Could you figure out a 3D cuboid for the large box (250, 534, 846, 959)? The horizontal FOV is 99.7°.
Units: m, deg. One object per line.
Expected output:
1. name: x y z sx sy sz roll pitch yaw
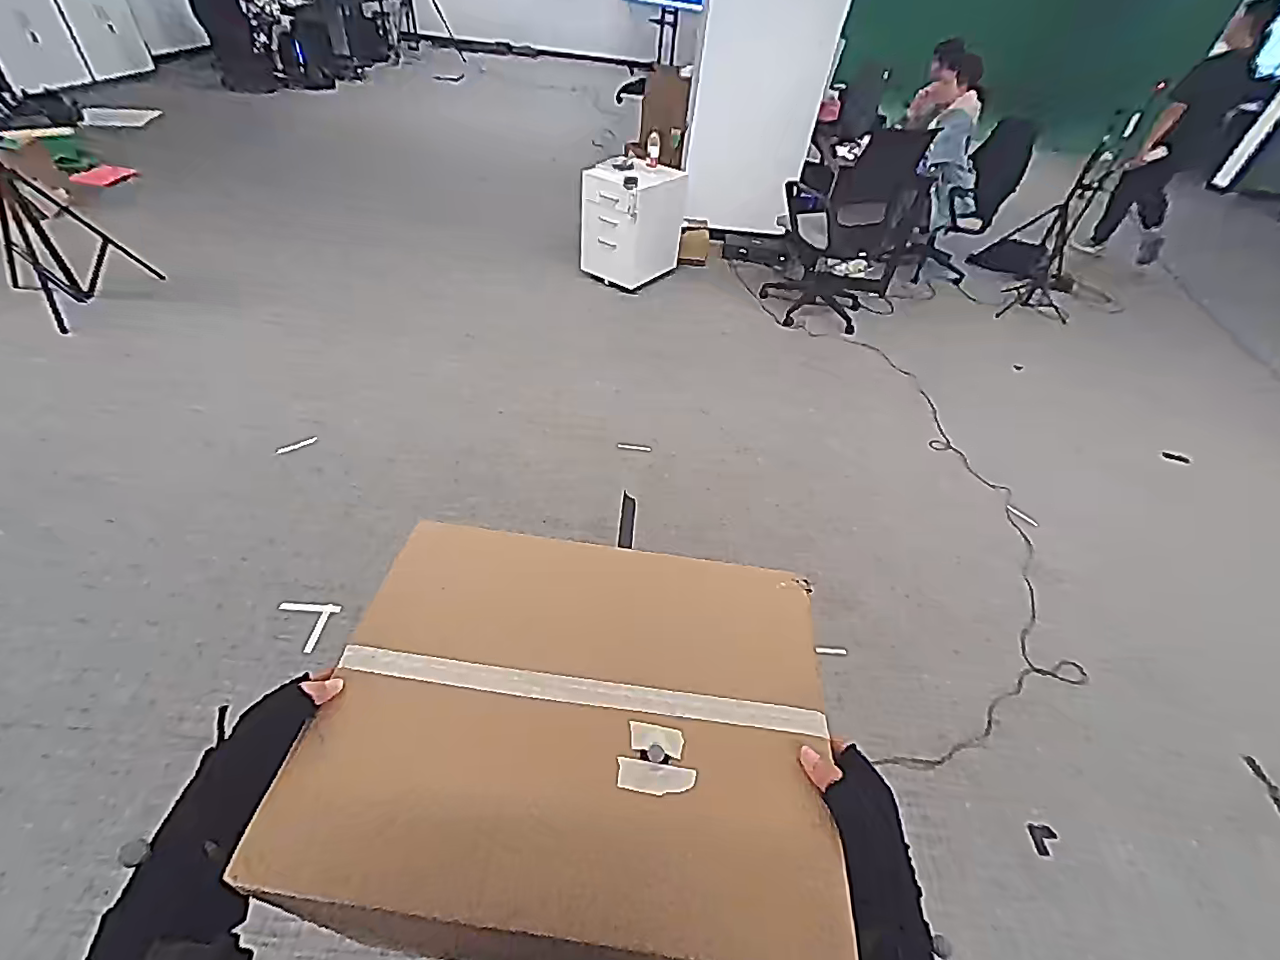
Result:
1. large box: -0.061 0.291 0.560 0.408 0.320 0.320 8 44 1
